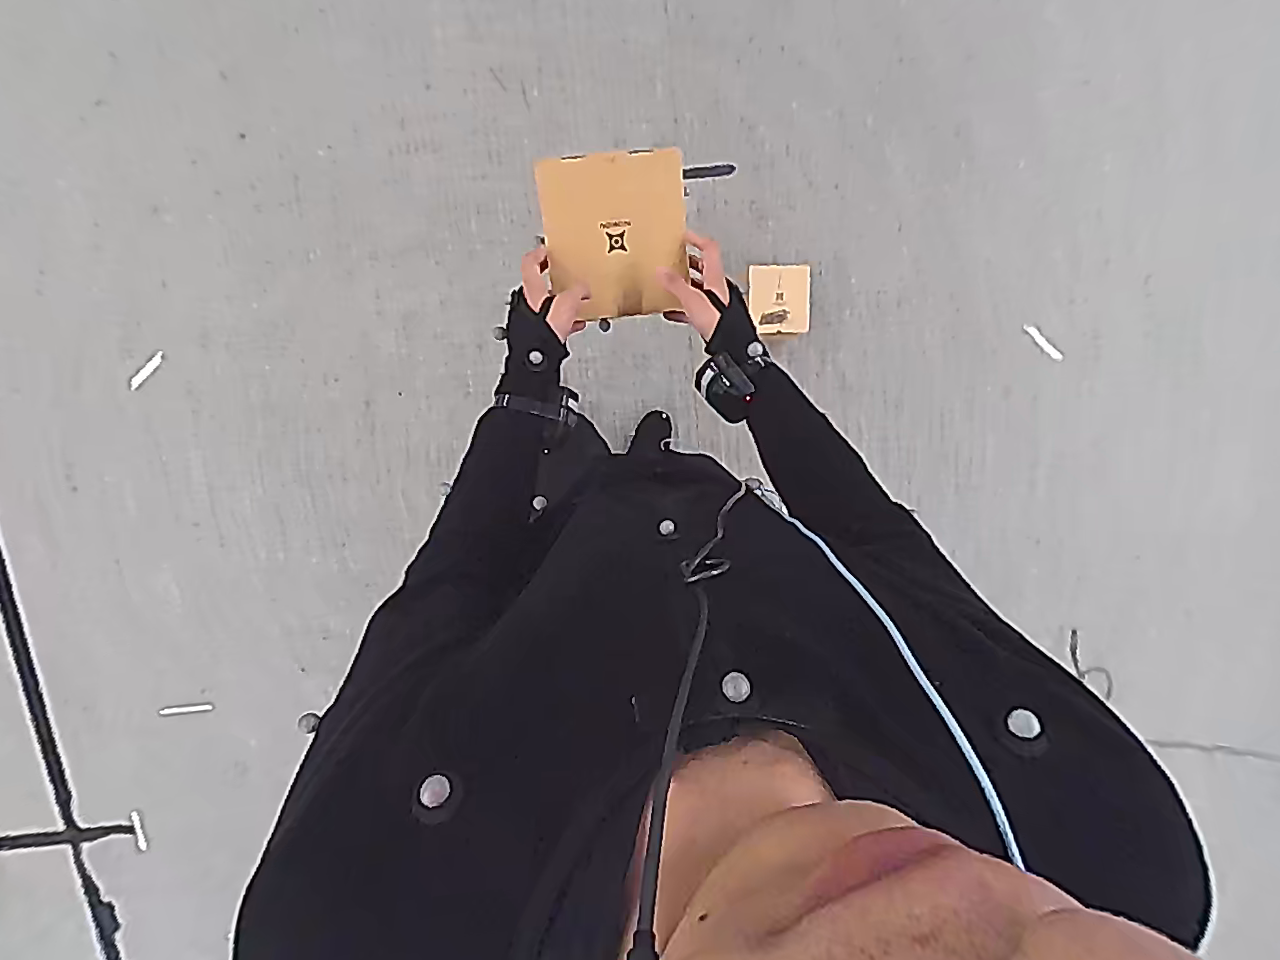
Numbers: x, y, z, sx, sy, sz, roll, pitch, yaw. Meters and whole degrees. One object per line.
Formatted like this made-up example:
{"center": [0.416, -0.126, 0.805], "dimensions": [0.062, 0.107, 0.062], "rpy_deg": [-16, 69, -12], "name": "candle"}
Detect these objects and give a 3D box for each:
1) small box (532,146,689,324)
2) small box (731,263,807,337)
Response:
{"center": [-0.036, -0.296, 0.689], "dimensions": [0.168, 0.176, 0.179], "rpy_deg": [-7, 105, -4], "name": "small box"}
{"center": [0.351, -0.490, 1.495], "dimensions": [0.168, 0.176, 0.179], "rpy_deg": [-2, 98, -4], "name": "small box"}
